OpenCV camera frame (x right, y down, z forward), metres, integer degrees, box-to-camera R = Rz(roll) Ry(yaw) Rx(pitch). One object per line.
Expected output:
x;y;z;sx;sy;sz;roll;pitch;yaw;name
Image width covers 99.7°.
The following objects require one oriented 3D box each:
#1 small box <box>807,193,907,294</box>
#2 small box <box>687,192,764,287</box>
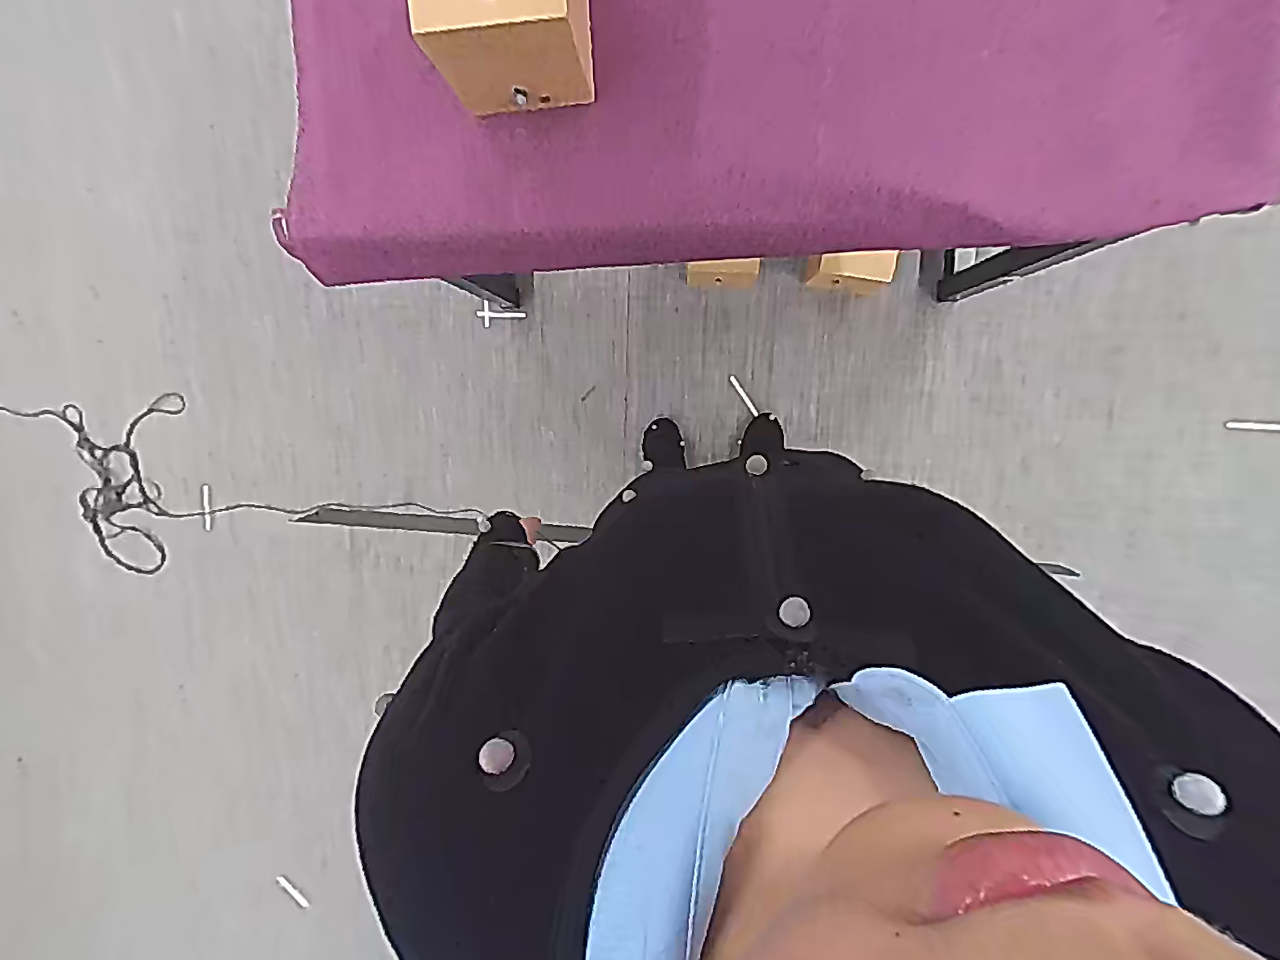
0.511;-0.558;1.301;0.168;0.176;0.179;11;99;4;small box
0.203;-0.579;1.322;0.168;0.176;0.179;4;98;4;small box
